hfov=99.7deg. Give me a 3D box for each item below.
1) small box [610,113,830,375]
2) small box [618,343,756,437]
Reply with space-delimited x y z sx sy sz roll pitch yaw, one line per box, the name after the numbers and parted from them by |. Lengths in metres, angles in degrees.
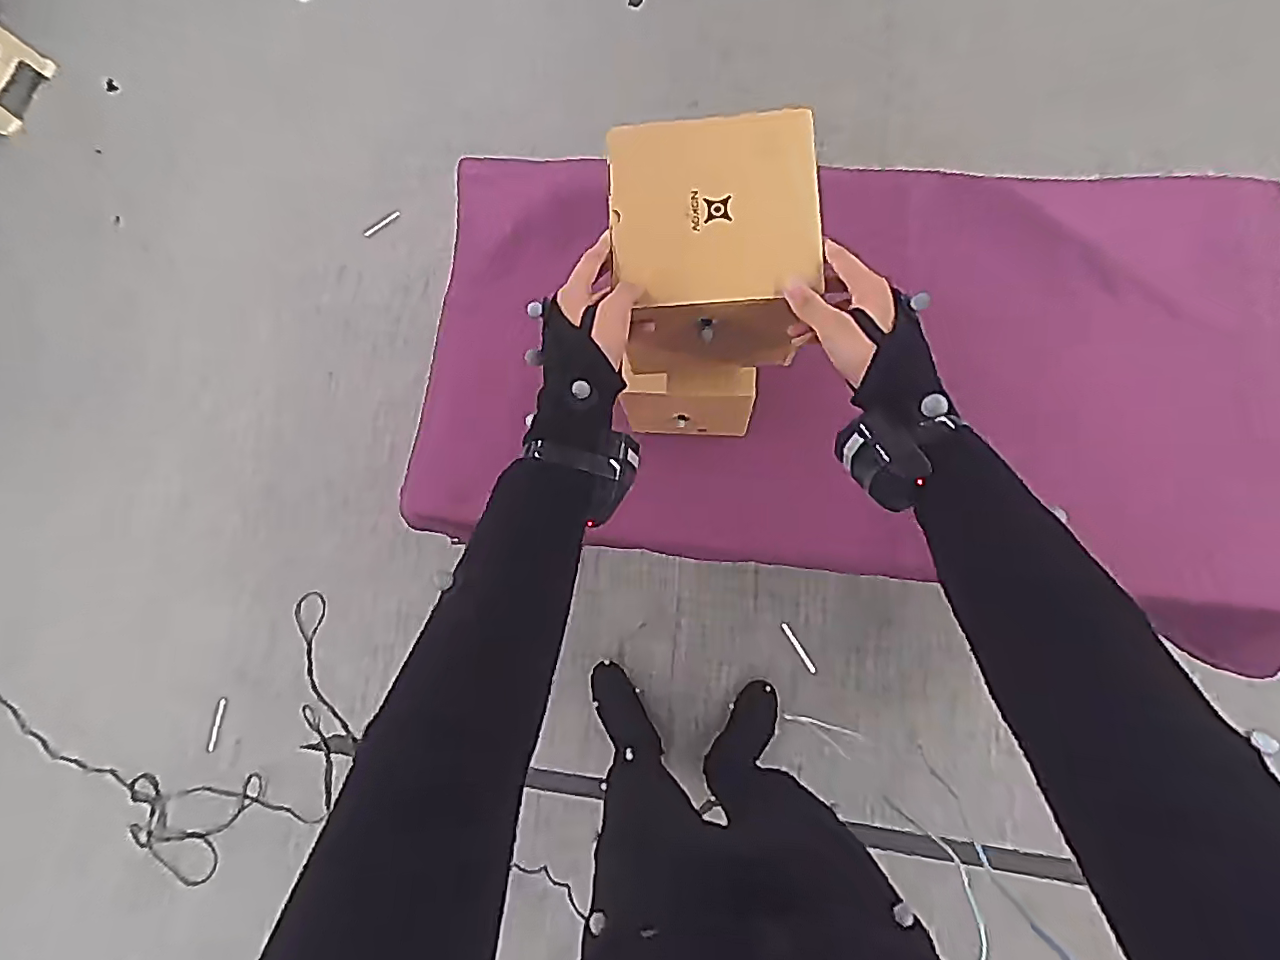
0.070 -0.206 0.519 0.179 0.176 0.168 -2 83 6 | small box
0.070 -0.162 0.726 0.168 0.176 0.179 4 79 7 | small box
